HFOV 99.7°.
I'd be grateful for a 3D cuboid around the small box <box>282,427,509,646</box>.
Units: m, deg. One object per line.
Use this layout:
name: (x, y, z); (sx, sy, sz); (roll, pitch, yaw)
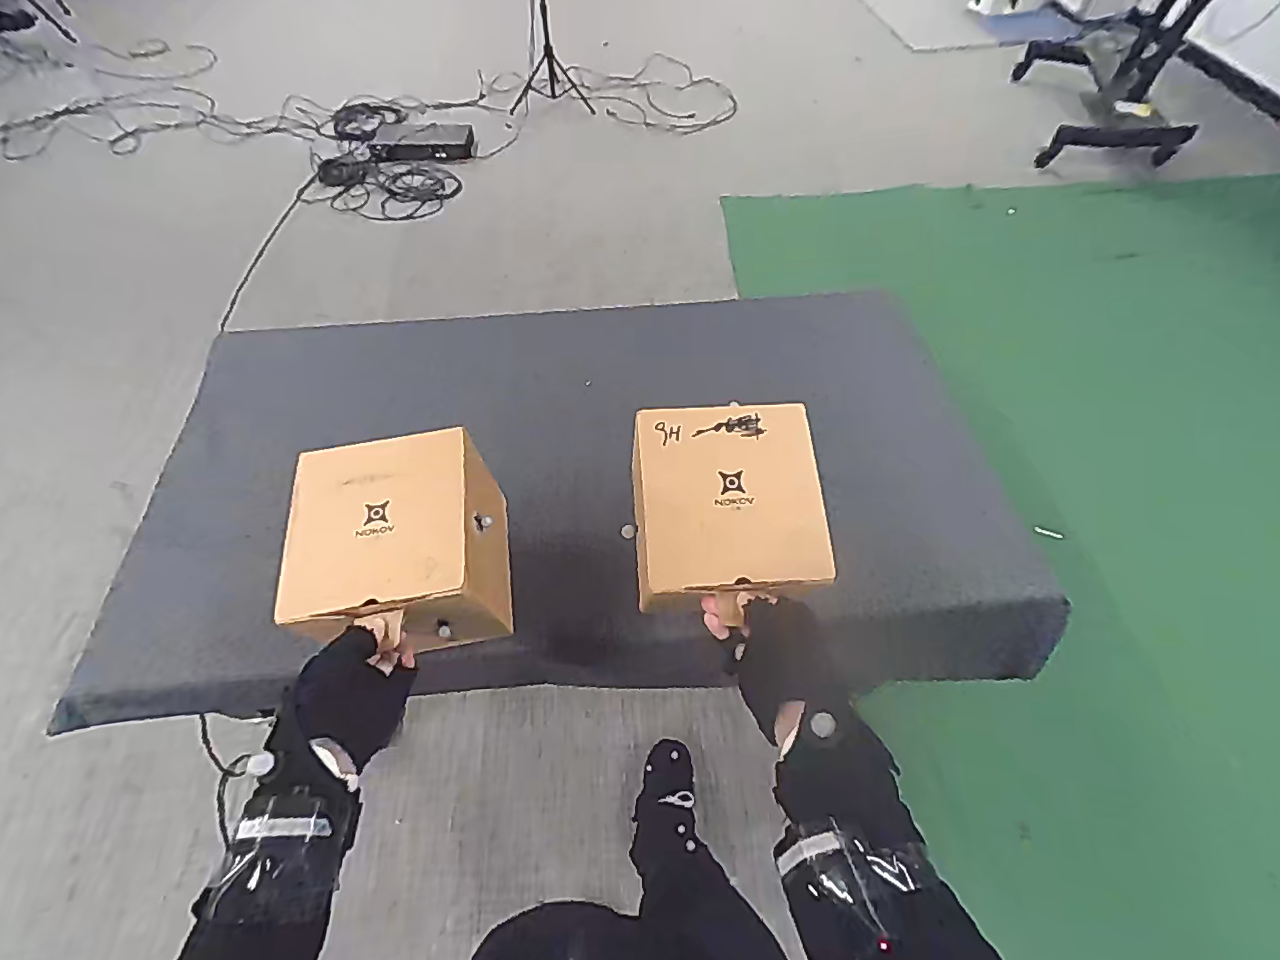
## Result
small box: (-0.243, 0.070, 0.583); (0.168, 0.176, 0.179); (-9, 60, -4)
